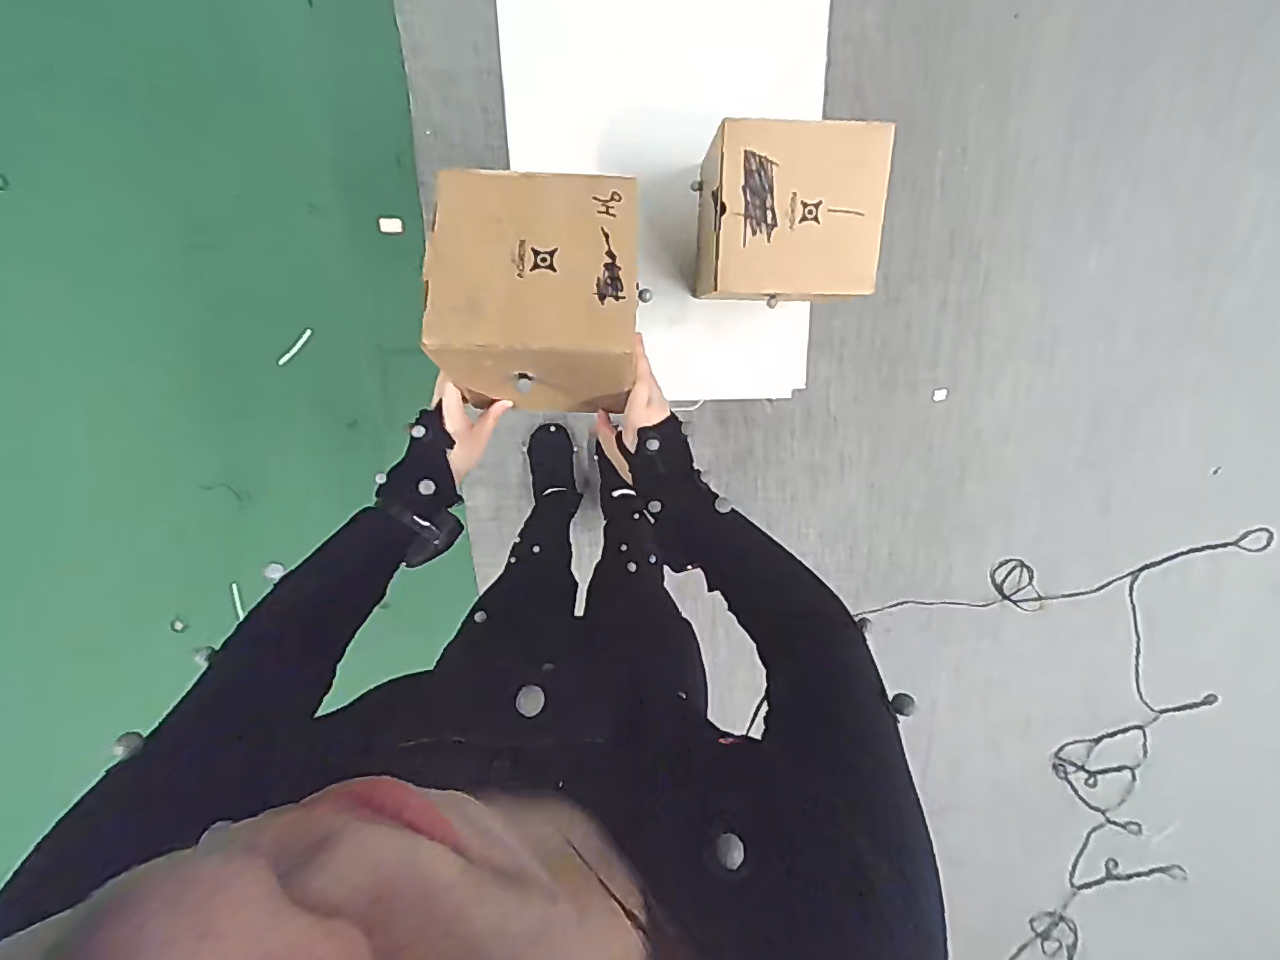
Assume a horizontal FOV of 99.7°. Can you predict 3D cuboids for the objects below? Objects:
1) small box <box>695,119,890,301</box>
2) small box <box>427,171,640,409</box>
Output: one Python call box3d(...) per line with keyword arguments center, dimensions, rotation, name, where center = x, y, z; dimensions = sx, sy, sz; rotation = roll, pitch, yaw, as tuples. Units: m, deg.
box3d(center=(0.163, -0.303, 0.642), dimensions=(0.179, 0.176, 0.168), rotation=(0, 107, -3), name="small box")
box3d(center=(-0.091, -0.175, 0.542), dimensions=(0.179, 0.176, 0.168), rotation=(1, 80, -2), name="small box")
